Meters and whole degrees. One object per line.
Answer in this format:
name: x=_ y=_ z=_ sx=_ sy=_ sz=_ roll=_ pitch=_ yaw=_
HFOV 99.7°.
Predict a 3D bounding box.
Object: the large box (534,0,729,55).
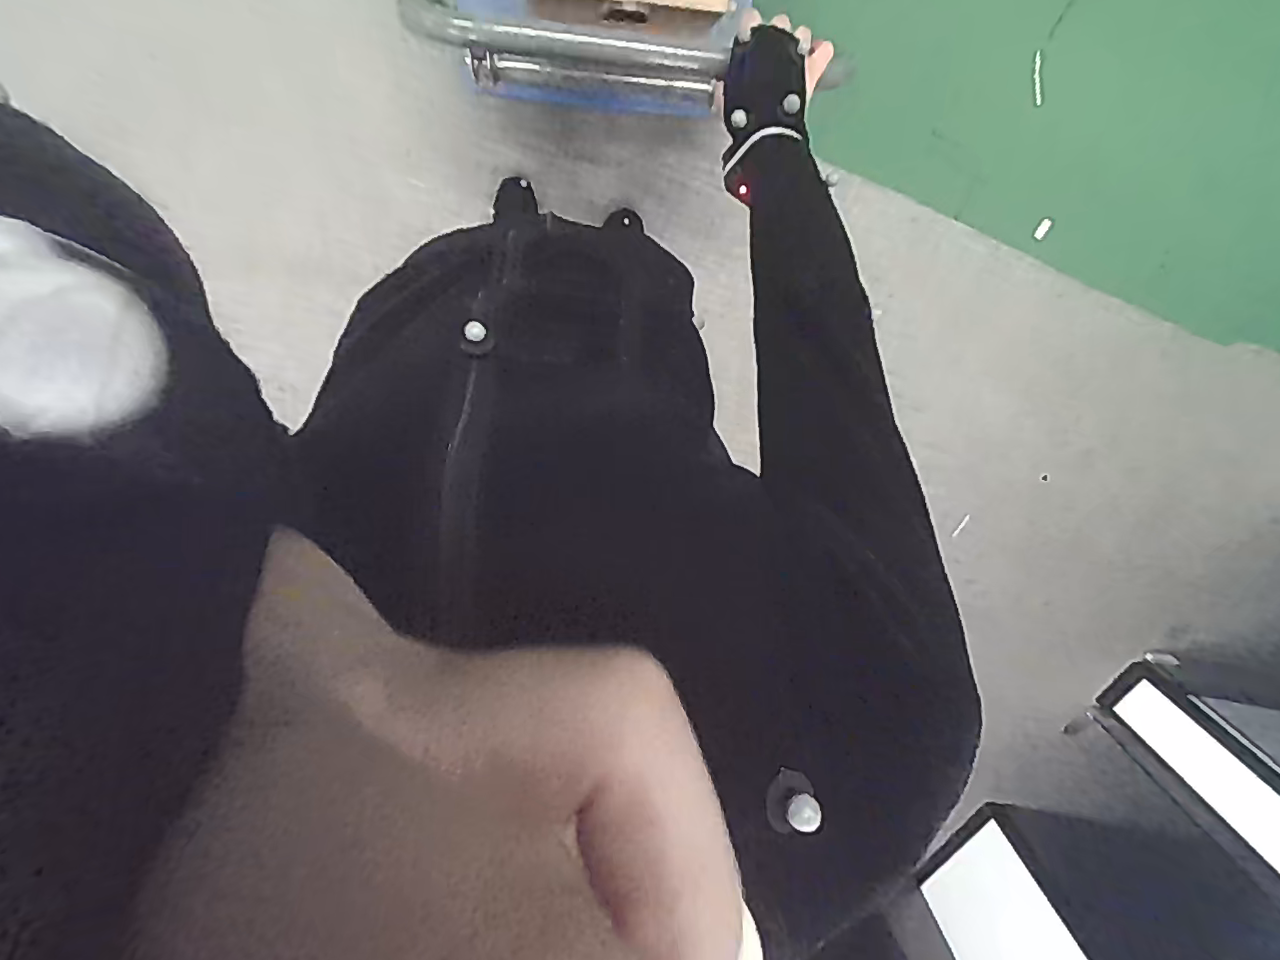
large box: x=-0.018 y=-0.968 z=0.865 sx=0.320 sy=0.320 sz=0.408 roll=1 pitch=119 yaw=-7
